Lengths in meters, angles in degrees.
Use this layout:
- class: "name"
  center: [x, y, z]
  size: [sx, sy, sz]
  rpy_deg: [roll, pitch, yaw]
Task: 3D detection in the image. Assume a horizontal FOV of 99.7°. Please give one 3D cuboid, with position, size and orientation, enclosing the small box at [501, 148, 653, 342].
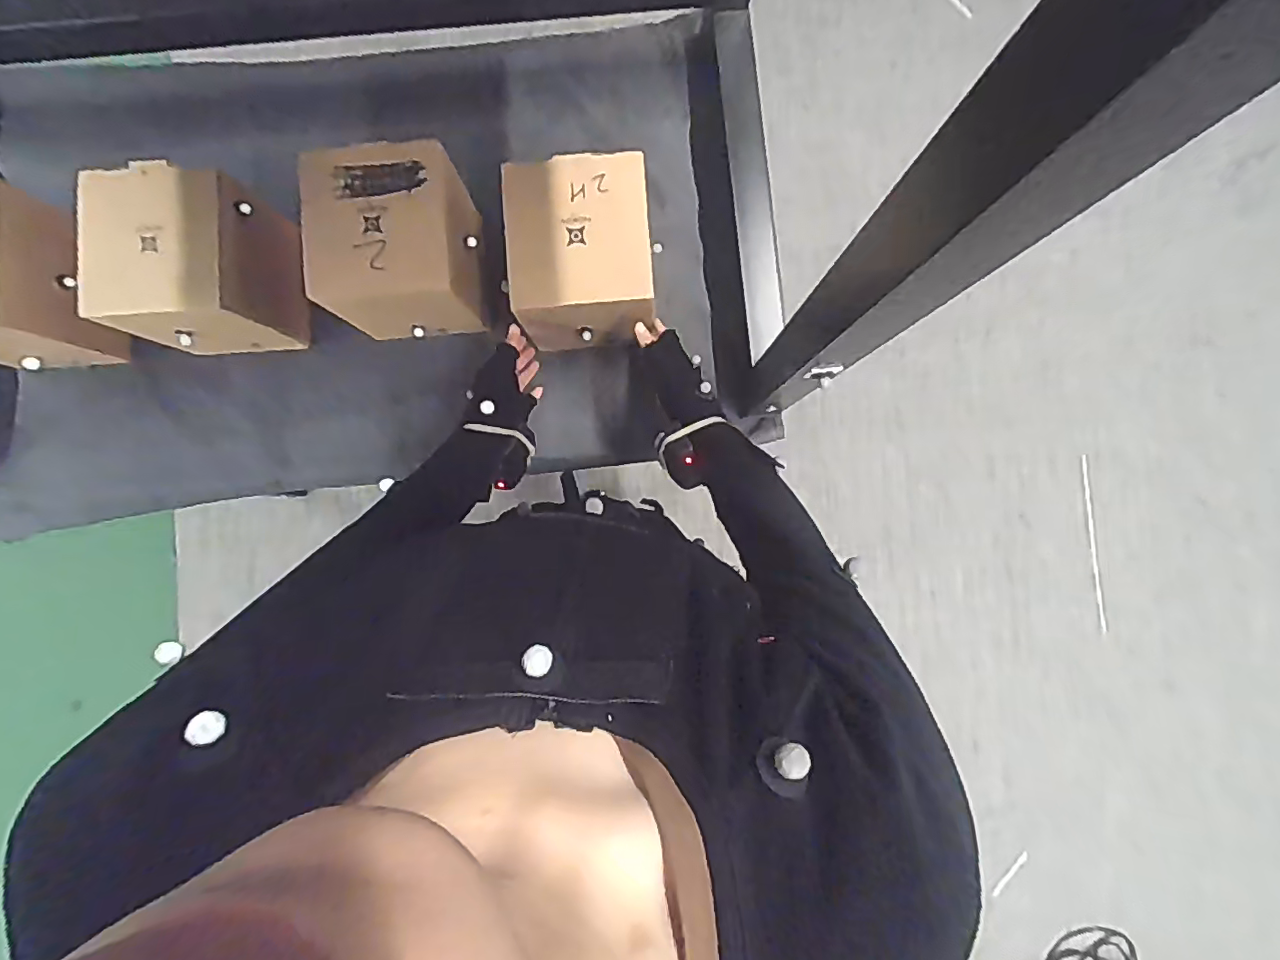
- class: "small box"
  center: [-0.071, -0.285, 0.697]
  size: [0.168, 0.176, 0.179]
  rpy_deg: [-5, 86, 1]

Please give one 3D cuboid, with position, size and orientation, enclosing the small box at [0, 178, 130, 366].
- class: "small box"
  center: [-0.815, -0.257, 0.699]
  size: [0.168, 0.176, 0.179]
  rpy_deg: [-3, 88, 0]

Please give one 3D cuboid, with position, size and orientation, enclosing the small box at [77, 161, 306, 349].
- class: "small box"
  center: [-0.563, -0.276, 0.702]
  size: [0.168, 0.176, 0.179]
  rpy_deg: [-4, 87, 0]
